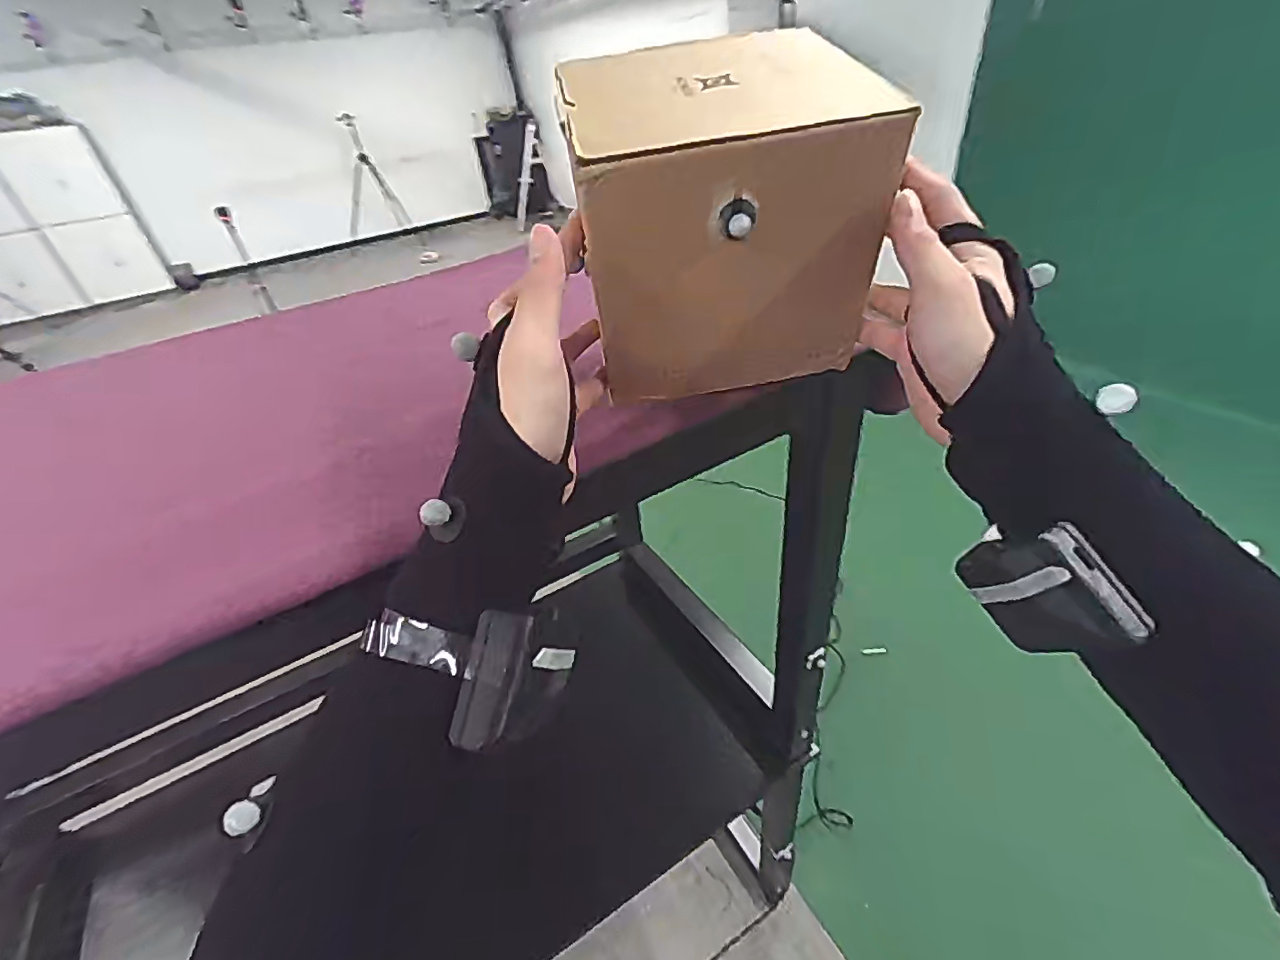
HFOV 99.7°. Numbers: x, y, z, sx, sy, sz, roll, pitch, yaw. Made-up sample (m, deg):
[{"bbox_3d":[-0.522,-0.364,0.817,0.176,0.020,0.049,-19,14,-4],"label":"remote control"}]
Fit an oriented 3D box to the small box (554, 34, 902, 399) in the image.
[{"bbox_3d":[0.046,-0.176,0.380,0.179,0.176,0.168,-10,52,-1],"label":"small box"}]
